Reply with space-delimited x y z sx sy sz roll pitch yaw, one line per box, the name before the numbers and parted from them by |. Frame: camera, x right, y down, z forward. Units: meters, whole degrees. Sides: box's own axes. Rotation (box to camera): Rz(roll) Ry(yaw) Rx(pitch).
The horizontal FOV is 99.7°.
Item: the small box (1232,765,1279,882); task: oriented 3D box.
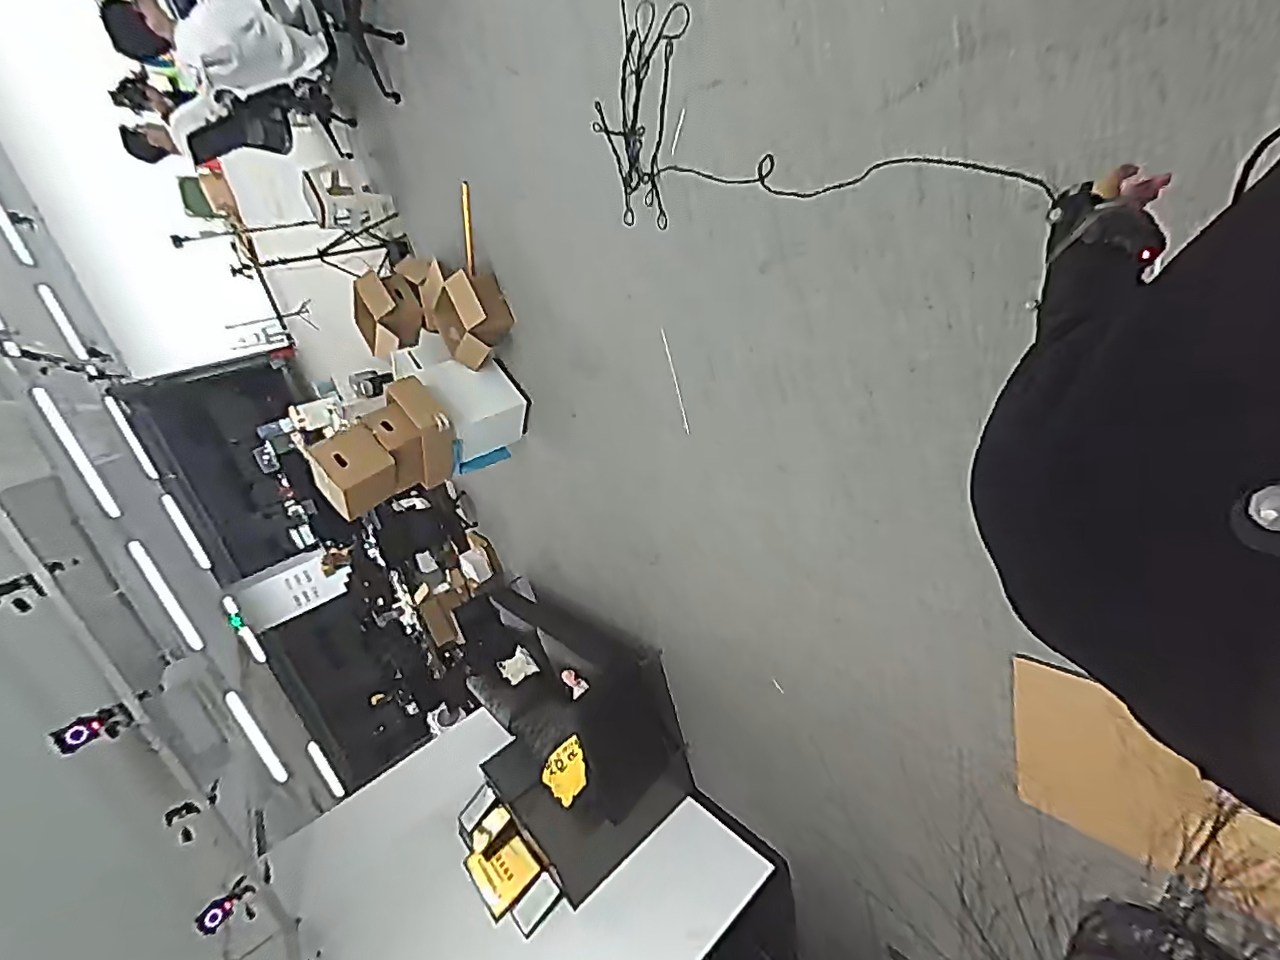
small box | 1.457 0.777 1.191 0.168 0.176 0.179 18 127 50
